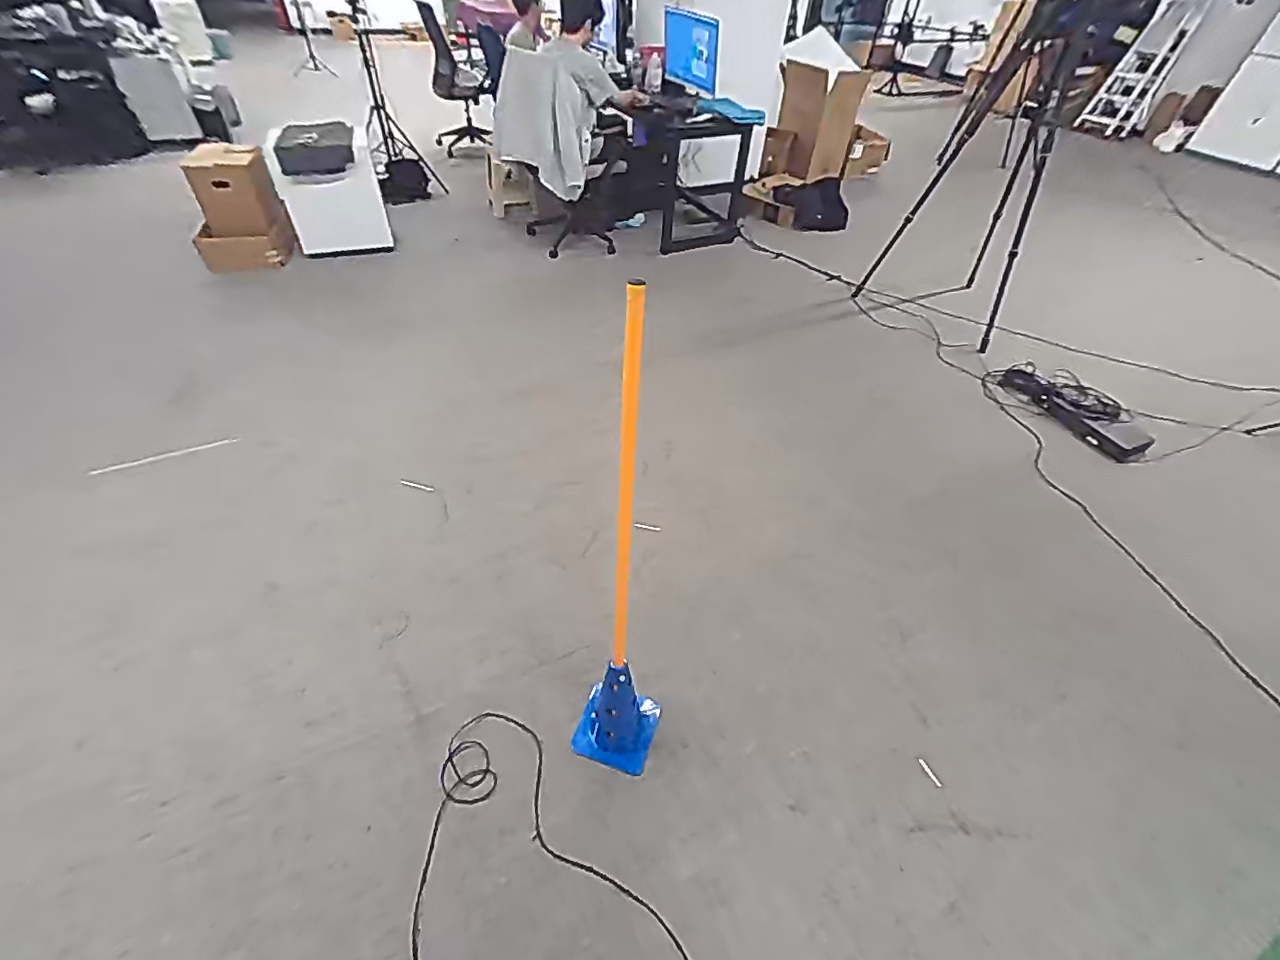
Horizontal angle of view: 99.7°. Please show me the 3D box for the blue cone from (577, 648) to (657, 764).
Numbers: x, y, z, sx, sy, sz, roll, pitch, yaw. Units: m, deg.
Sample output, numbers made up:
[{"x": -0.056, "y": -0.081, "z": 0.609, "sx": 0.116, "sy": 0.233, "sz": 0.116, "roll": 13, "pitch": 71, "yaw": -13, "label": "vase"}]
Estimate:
[{"x": -0.053, "y": 0.526, "z": 1.337, "sx": 0.192, "sy": 0.380, "sz": 0.193, "roll": 14, "pitch": 44, "yaw": 11, "label": "blue cone"}]
